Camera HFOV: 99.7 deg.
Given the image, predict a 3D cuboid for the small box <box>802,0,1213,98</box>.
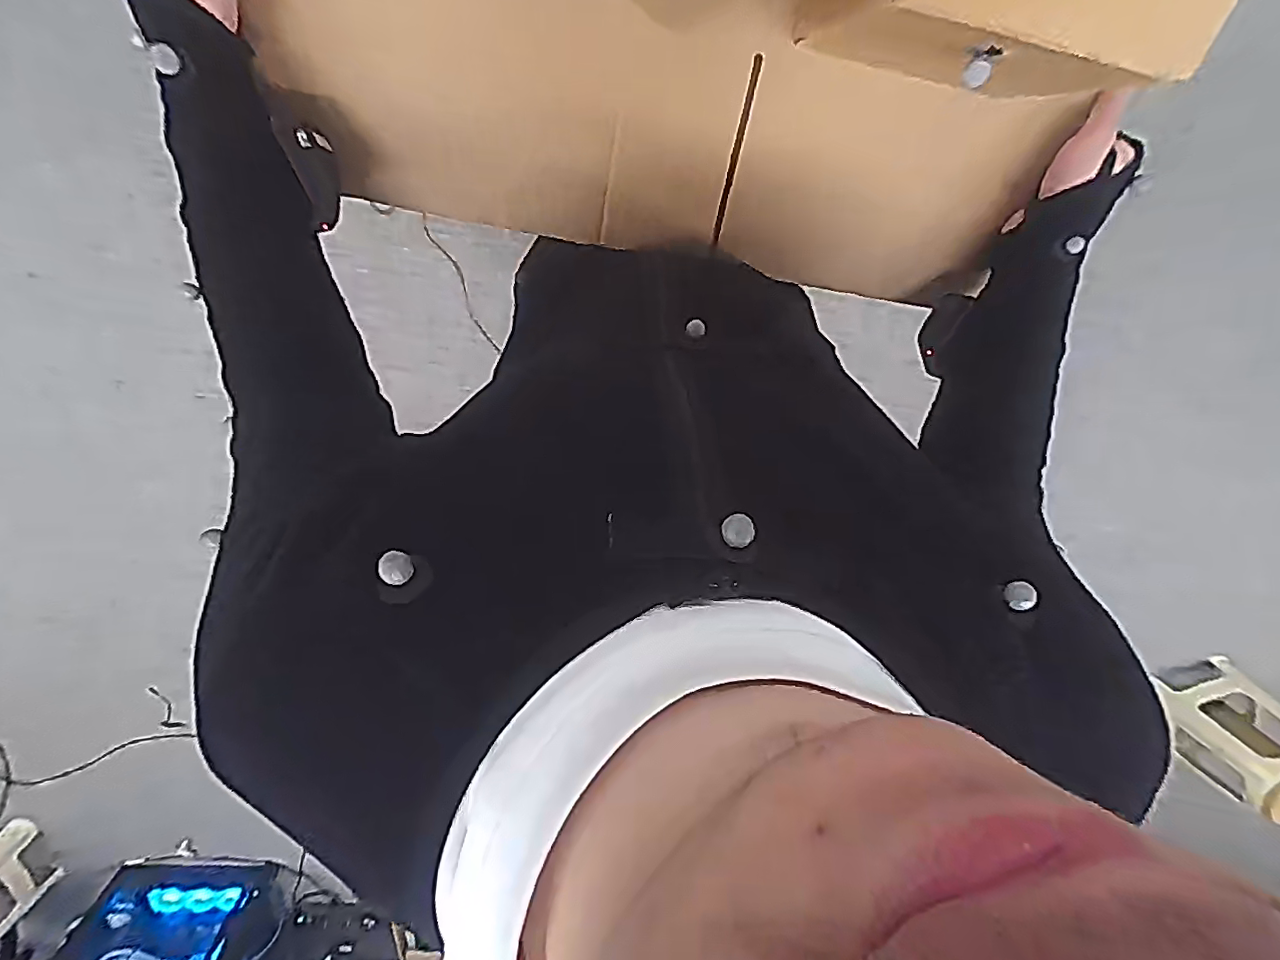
[{"bbox_3d":[0.223,-0.342,0.318,0.179,0.176,0.168,9,122,-8],"label":"small box"}]
